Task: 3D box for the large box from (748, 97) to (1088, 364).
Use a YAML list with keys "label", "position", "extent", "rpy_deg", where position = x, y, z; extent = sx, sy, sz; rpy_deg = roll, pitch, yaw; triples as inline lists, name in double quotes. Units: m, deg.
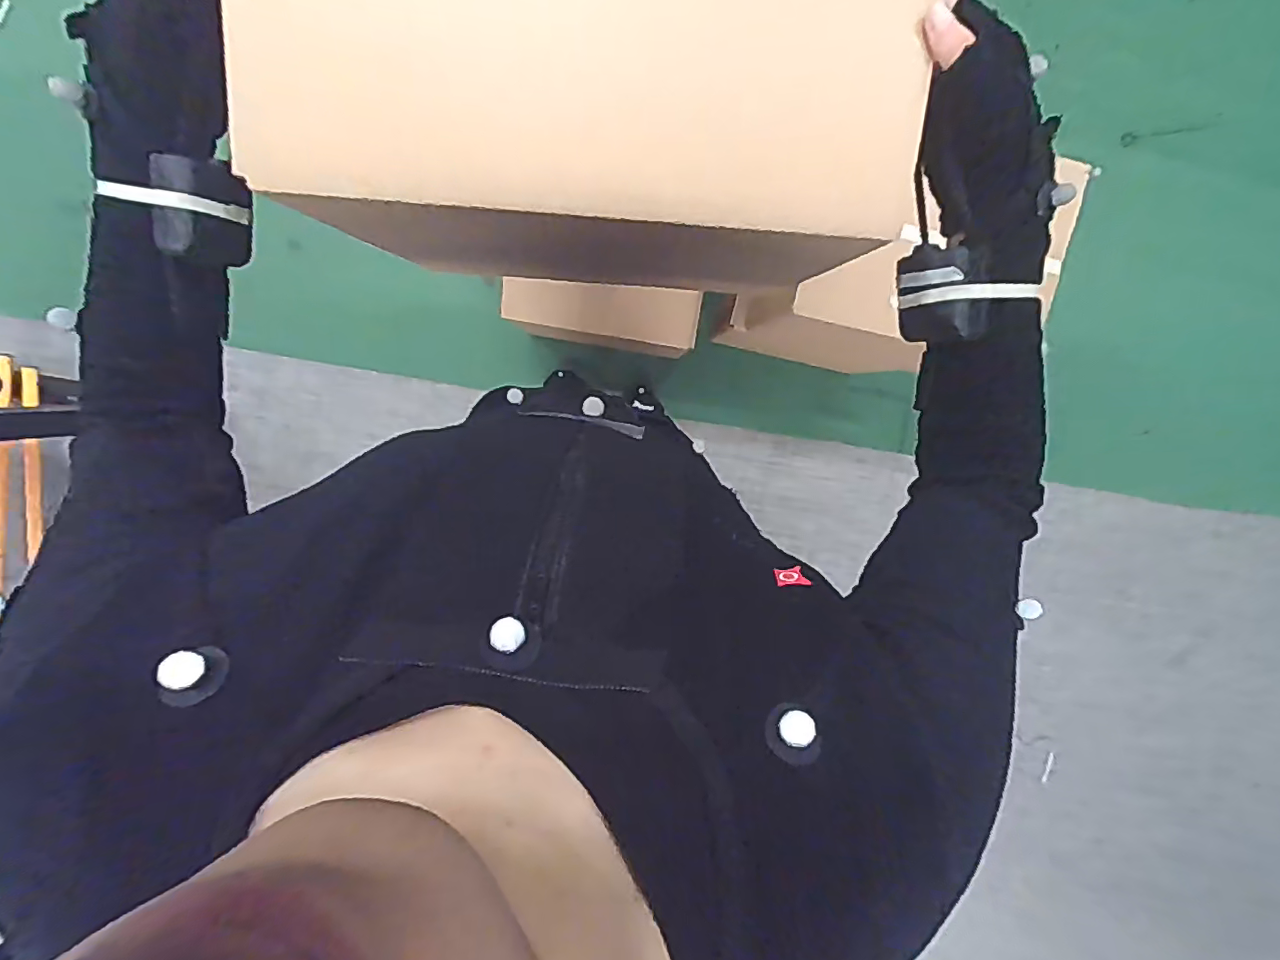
- label: "large box"
  position: [0.449, -0.403, 0.971]
  extent: [0.408, 0.320, 0.320]
  rpy_deg: [11, 100, -5]
